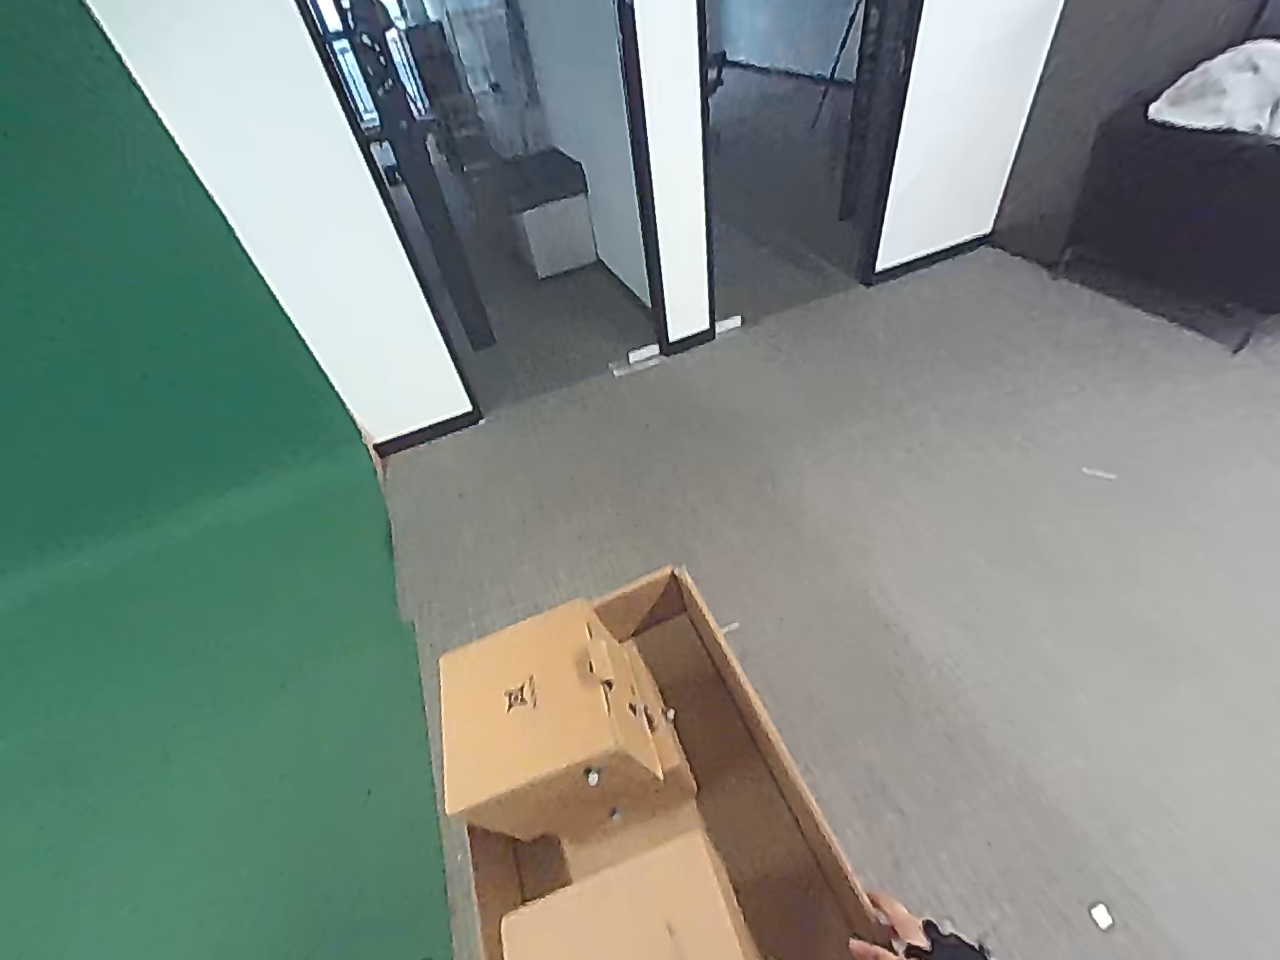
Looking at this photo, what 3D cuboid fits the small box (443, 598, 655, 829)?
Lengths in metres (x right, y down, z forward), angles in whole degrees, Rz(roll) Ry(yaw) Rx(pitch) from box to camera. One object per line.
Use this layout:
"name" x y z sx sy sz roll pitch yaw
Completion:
"small box" -0.100 0.269 0.614 0.179 0.176 0.168 -21 48 -1

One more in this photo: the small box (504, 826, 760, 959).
"small box" 0.011 0.423 0.444 0.179 0.176 0.168 -22 47 -4
